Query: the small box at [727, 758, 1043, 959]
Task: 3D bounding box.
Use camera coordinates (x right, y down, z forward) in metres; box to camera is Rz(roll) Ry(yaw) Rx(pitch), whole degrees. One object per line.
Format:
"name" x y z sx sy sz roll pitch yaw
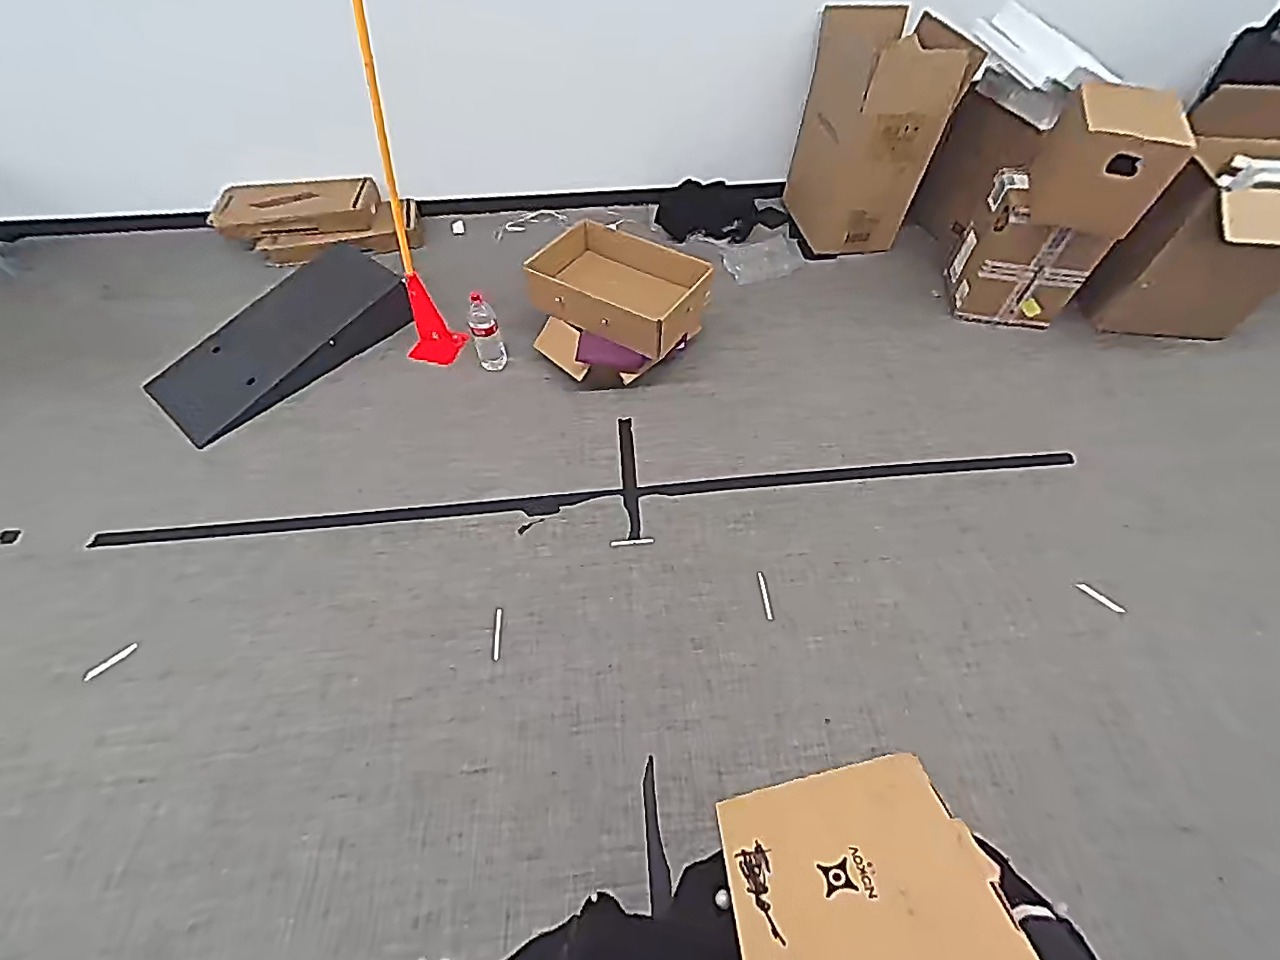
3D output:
"small box" 0.182 0.362 0.422 0.179 0.176 0.168 -17 19 5
